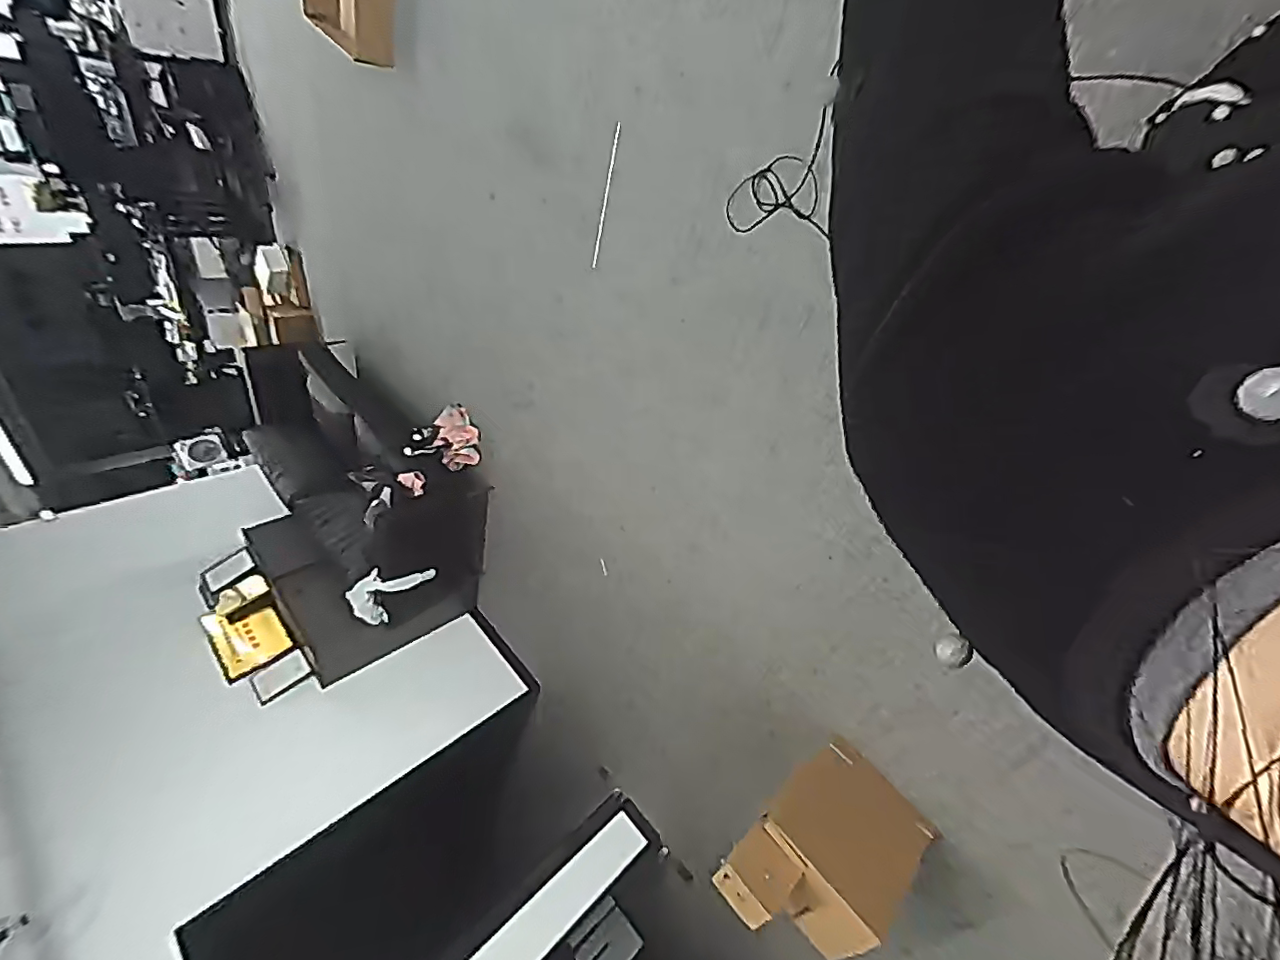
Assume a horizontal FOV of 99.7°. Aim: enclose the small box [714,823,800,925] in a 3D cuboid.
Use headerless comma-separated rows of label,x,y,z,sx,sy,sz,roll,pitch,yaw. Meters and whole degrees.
small box,0.370,1.228,1.693,0.179,0.176,0.168,41,133,26
